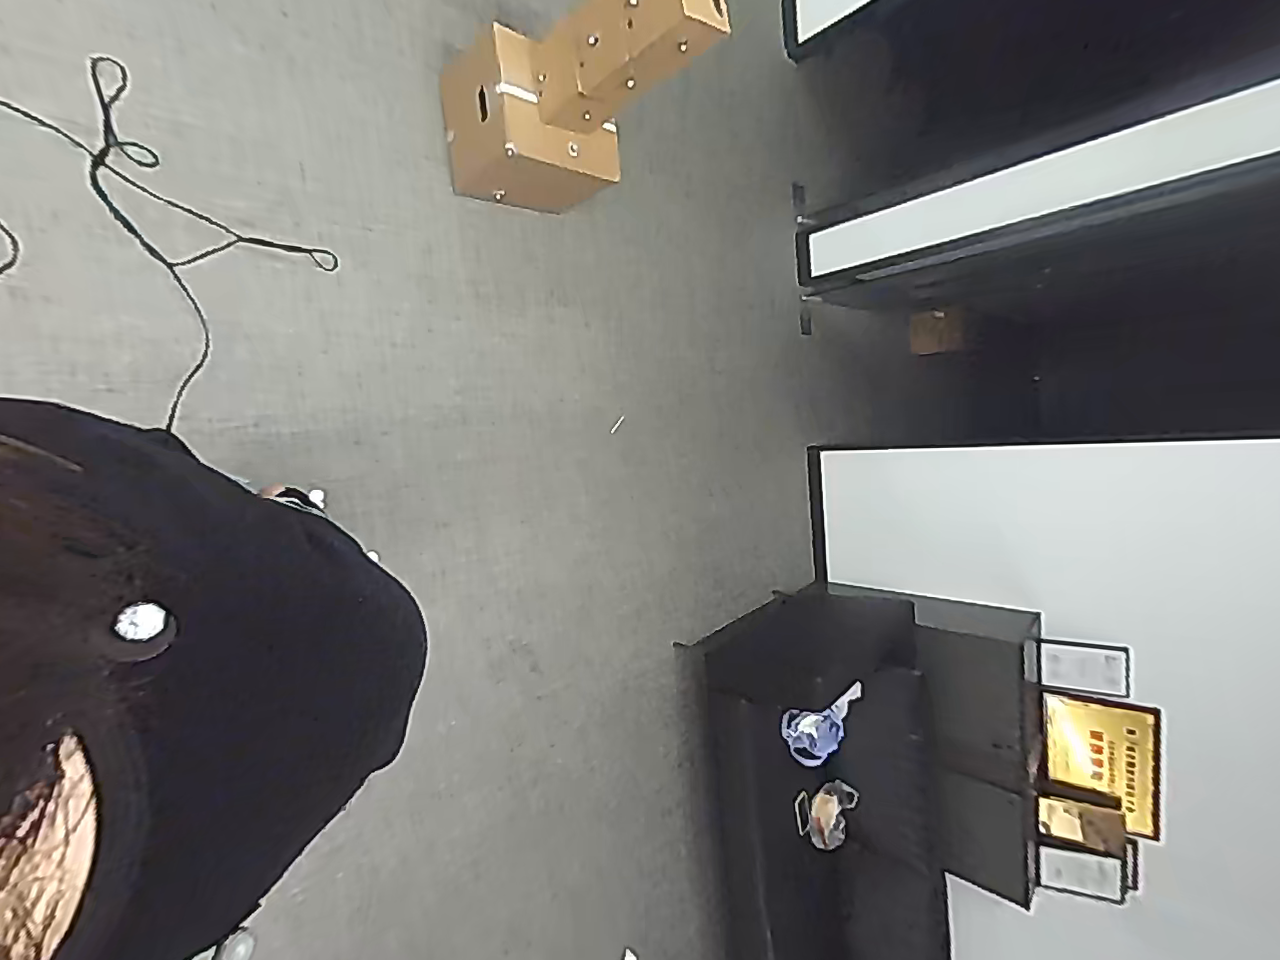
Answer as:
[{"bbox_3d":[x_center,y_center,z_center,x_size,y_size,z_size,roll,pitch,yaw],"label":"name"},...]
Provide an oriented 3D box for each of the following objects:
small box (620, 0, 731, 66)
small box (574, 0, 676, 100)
[{"bbox_3d":[0.074,-1.070,1.209,0.179,0.176,0.168,-26,107,-41],"label":"small box"},{"bbox_3d":[-0.043,-1.069,1.326,0.179,0.176,0.168,-24,107,-41],"label":"small box"}]
